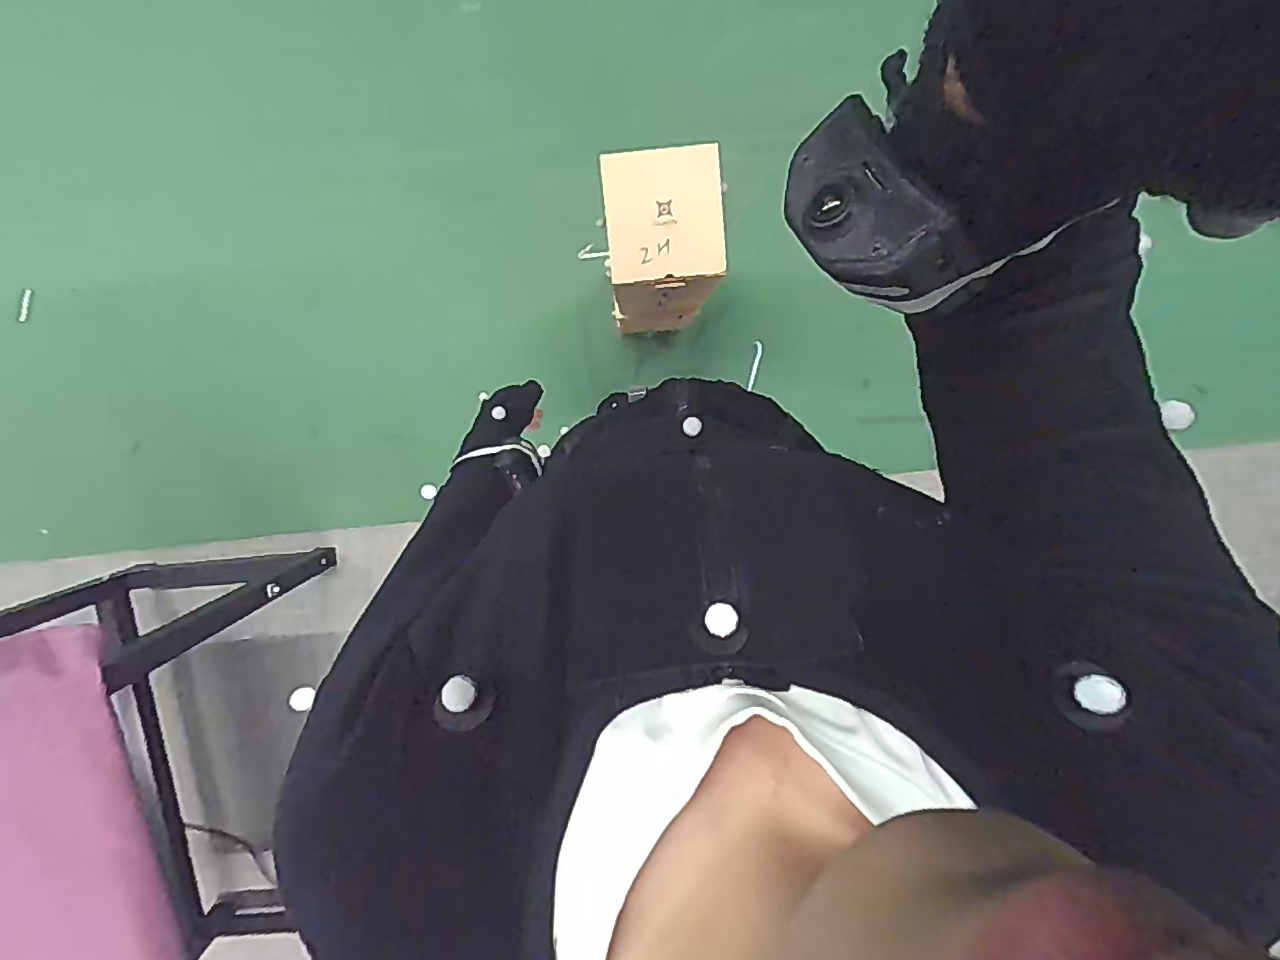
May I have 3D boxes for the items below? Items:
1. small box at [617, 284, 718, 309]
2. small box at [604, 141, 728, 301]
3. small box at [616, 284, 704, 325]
[{"bbox_3d":[0.042,-0.415,0.990,0.179,0.176,0.168,-3,98,0],"label":"small box"},{"bbox_3d":[0.037,-0.385,0.831,0.168,0.176,0.179,-5,99,1],"label":"small box"},{"bbox_3d":[0.038,-0.430,1.156,0.179,0.176,0.168,-5,100,1],"label":"small box"}]
